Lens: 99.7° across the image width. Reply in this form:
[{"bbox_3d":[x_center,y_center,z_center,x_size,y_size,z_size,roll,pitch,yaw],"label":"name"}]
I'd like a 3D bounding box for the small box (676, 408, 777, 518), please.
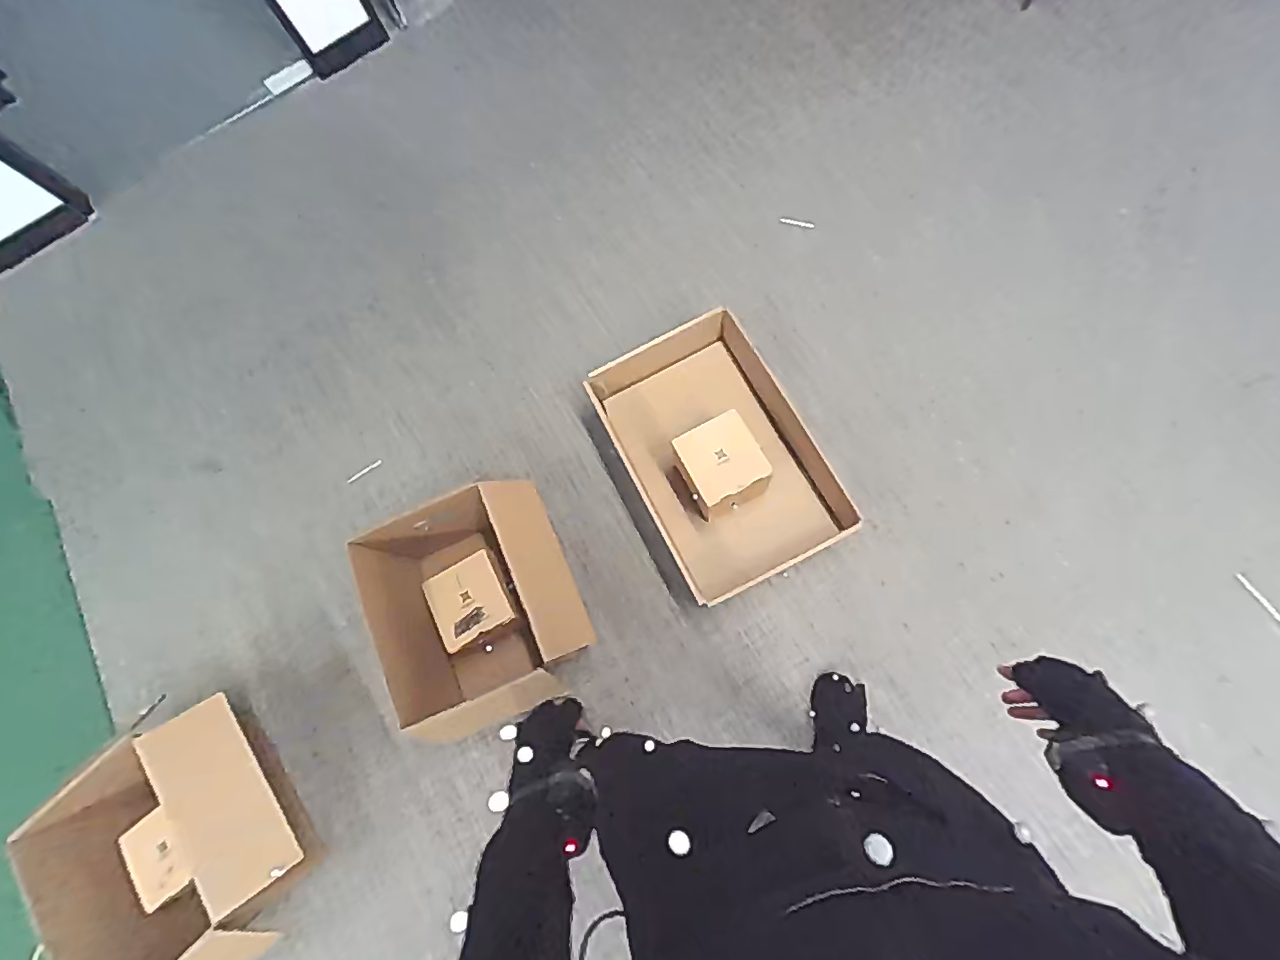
[{"bbox_3d":[0.197,-0.033,1.264,0.168,0.176,0.179,-28,73,-1],"label":"small box"}]
